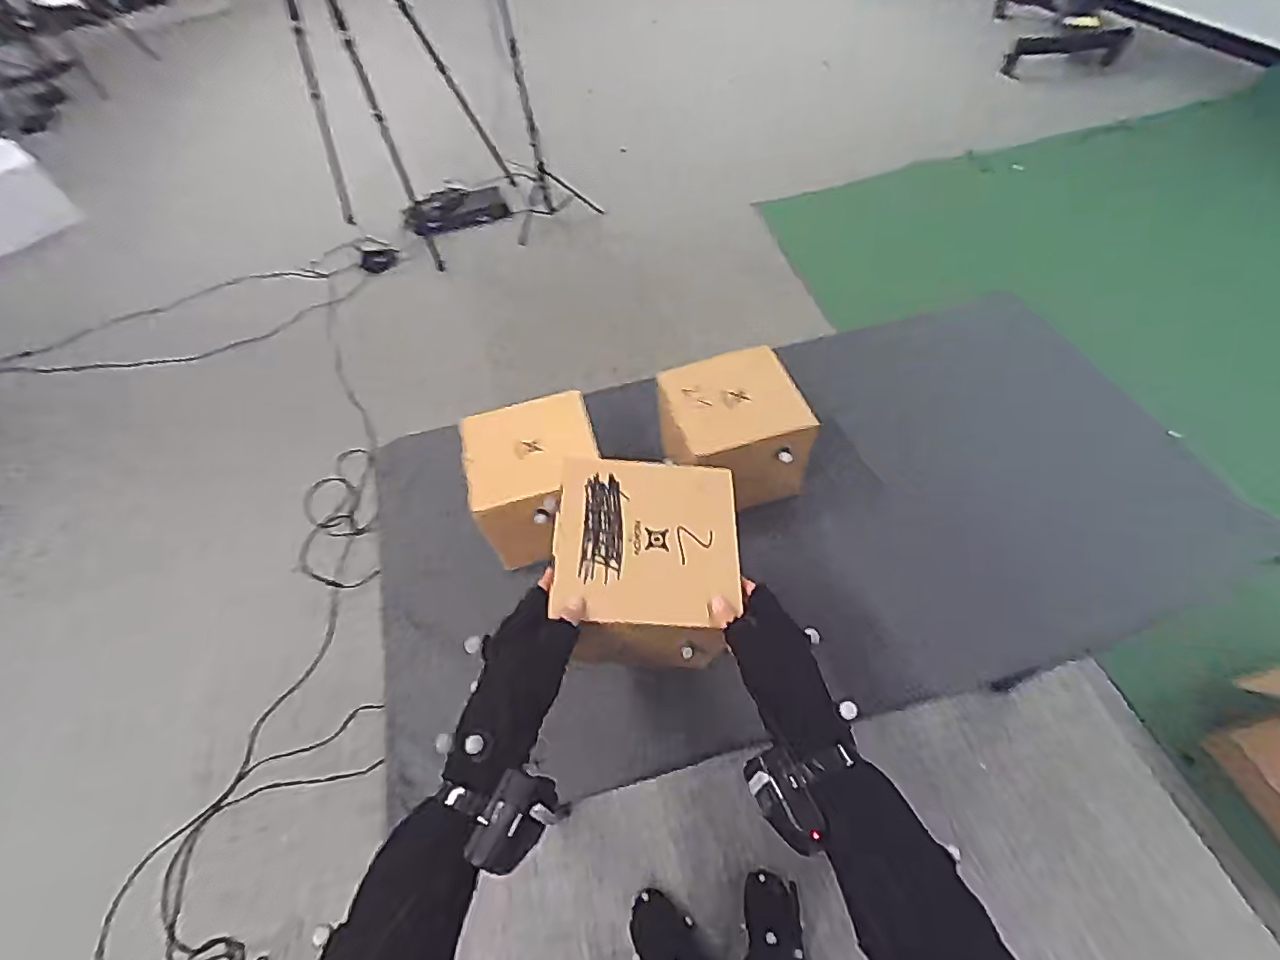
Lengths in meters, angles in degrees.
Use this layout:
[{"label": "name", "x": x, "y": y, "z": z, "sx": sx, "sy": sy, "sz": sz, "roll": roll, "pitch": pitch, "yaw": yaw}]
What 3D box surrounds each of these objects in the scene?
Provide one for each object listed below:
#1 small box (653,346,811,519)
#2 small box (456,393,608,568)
[{"label": "small box", "x": 0.127, "y": -0.066, "z": 0.810, "sx": 0.179, "sy": 0.176, "sz": 0.168, "roll": -16, "pitch": 55, "yaw": -5}, {"label": "small box", "x": -0.150, "y": 0.006, "z": 0.793, "sx": 0.179, "sy": 0.176, "sz": 0.168, "roll": -16, "pitch": 55, "yaw": -5}]
